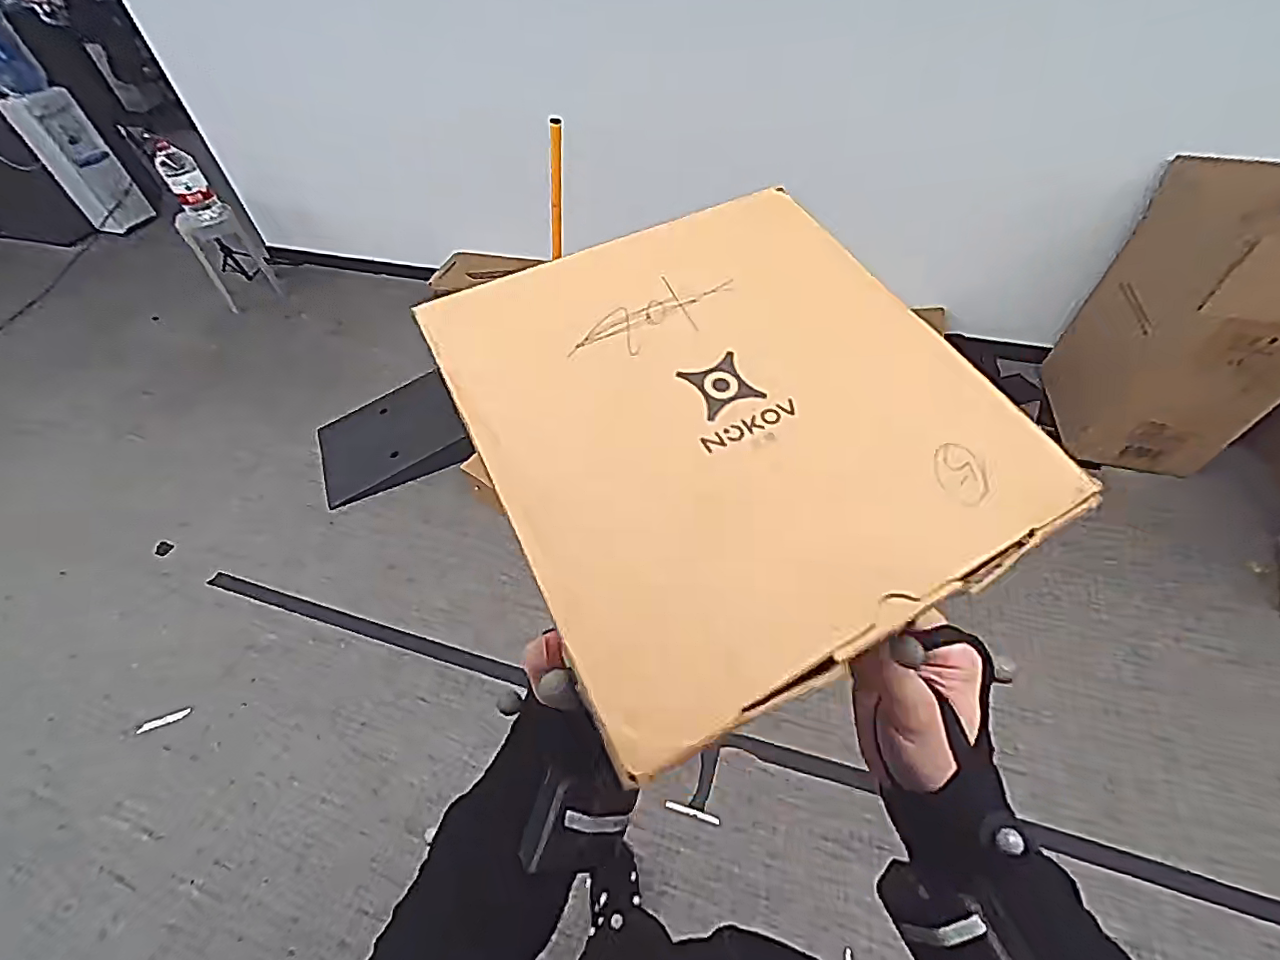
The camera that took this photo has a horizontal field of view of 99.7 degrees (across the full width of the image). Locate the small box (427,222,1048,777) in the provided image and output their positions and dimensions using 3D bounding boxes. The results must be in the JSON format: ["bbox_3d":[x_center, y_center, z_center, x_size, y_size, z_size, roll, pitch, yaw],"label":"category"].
[{"bbox_3d":[0.025,0.018,0.265,0.168,0.176,0.179,-24,63,-14],"label":"small box"}]
